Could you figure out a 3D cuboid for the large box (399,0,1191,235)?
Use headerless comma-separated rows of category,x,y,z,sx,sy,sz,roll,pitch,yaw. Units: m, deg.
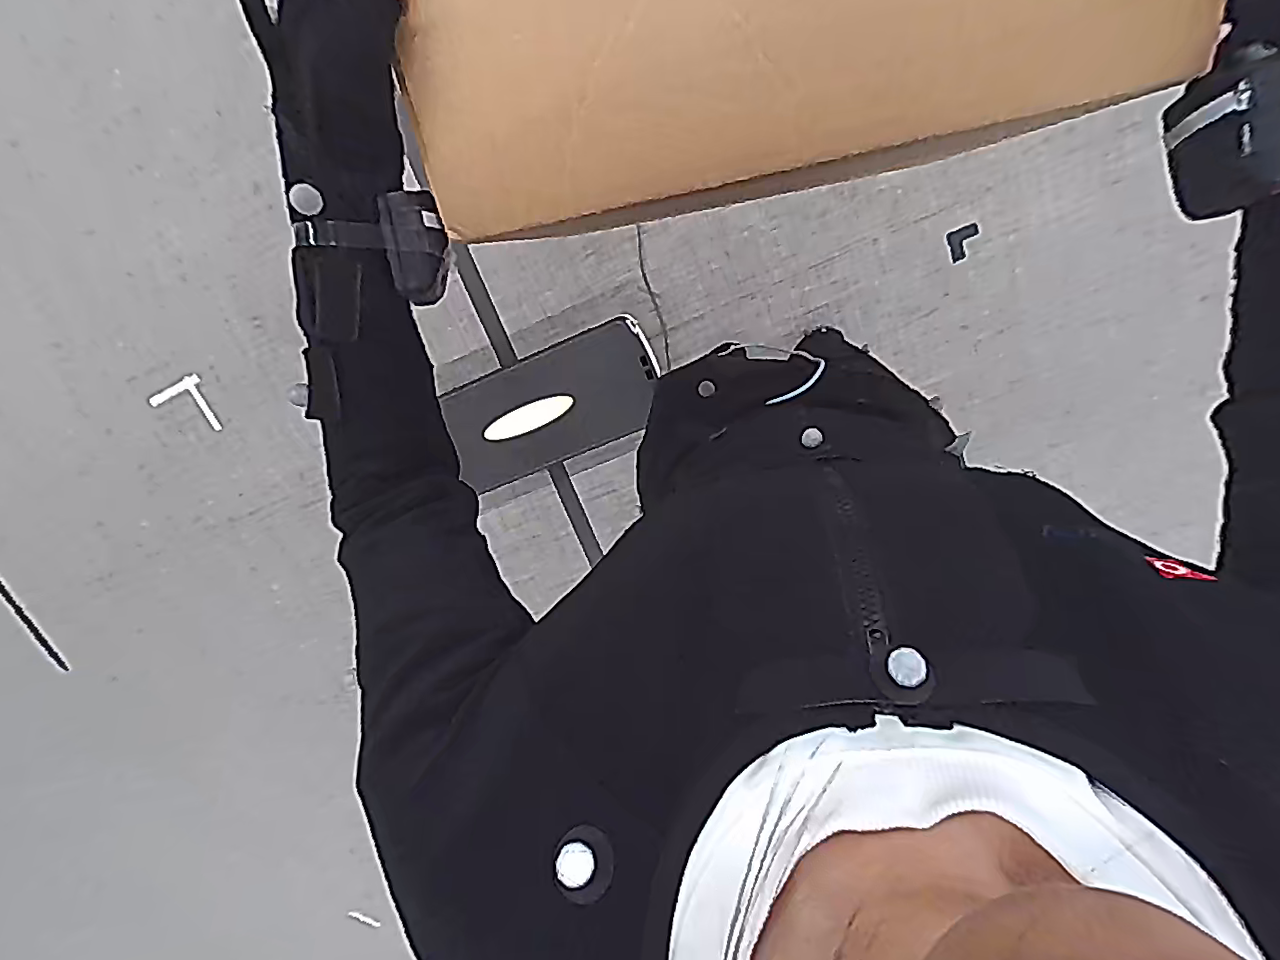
large box,0.066,-0.384,0.388,0.408,0.320,0.320,-8,114,10
